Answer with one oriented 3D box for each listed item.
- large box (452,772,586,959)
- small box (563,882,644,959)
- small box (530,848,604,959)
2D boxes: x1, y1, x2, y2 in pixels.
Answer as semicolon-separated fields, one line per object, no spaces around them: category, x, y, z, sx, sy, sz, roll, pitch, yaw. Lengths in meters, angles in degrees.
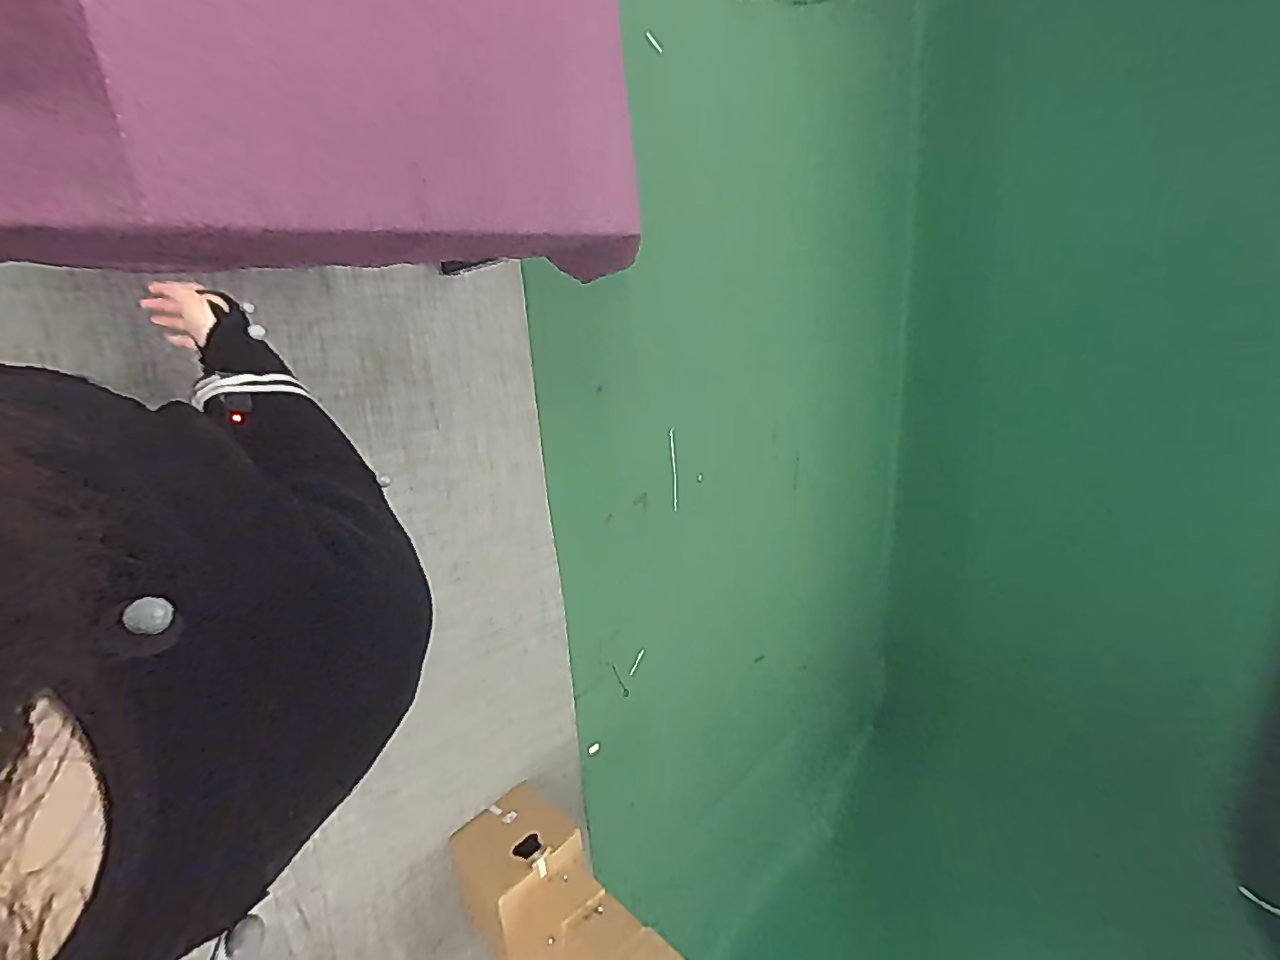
large box;-0.403;1.324;1.862;0.320;0.320;0.408;-21;114;-41
small box;-0.111;1.341;1.578;0.168;0.176;0.179;-2;99;-47
small box;-0.231;1.309;1.684;0.168;0.176;0.179;-7;103;-45
